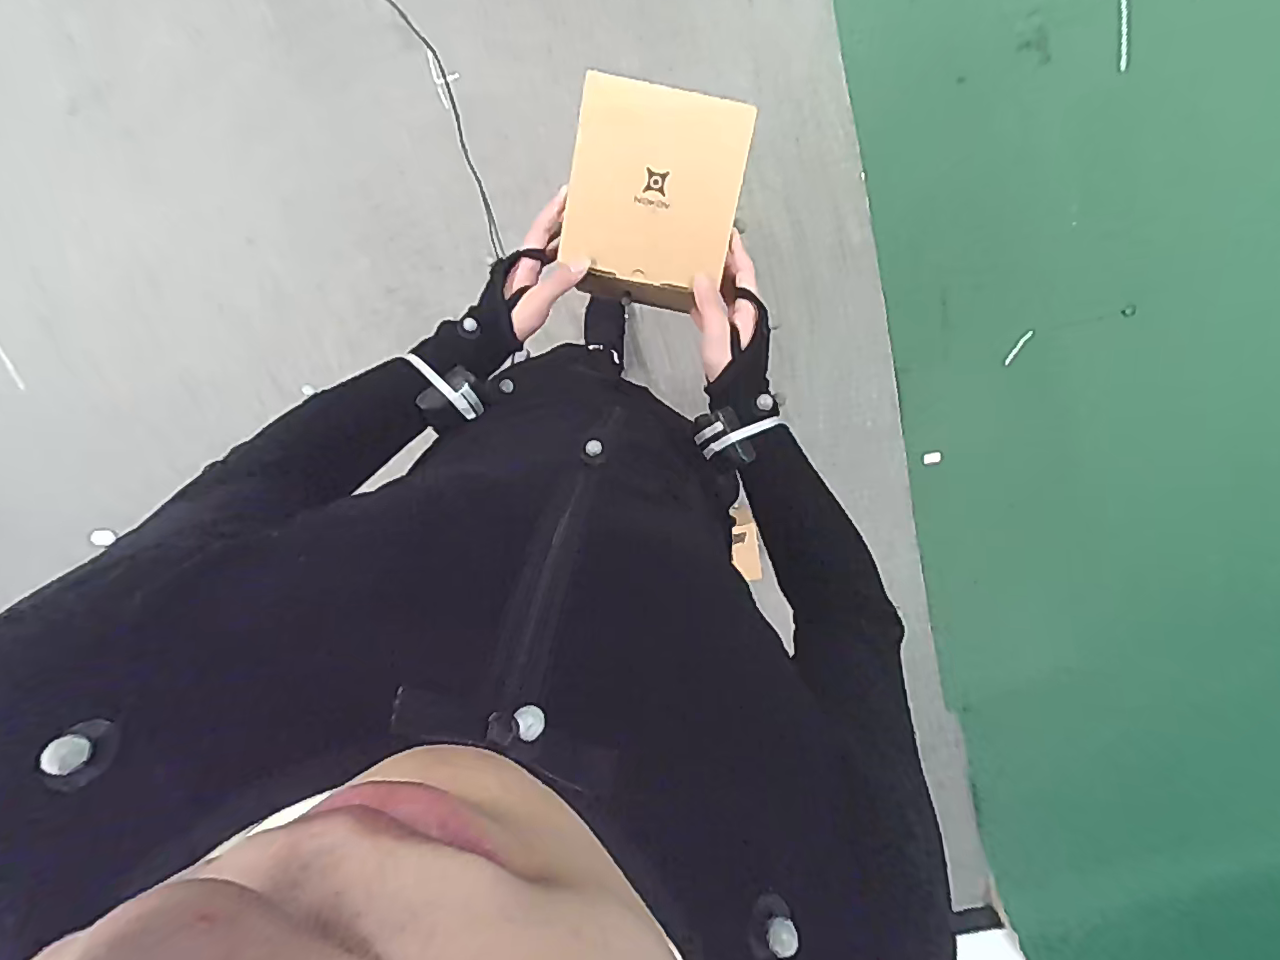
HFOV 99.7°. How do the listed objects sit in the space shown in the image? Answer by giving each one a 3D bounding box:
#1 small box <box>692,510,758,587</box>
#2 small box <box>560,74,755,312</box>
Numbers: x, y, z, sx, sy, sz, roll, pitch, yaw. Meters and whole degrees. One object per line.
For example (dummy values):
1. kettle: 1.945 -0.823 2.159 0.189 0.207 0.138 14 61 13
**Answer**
1. small box: 0.254 0.199 1.634 0.168 0.176 0.179 -9 106 5
2. small box: 0.014 -0.298 0.603 0.168 0.176 0.179 10 102 -2
